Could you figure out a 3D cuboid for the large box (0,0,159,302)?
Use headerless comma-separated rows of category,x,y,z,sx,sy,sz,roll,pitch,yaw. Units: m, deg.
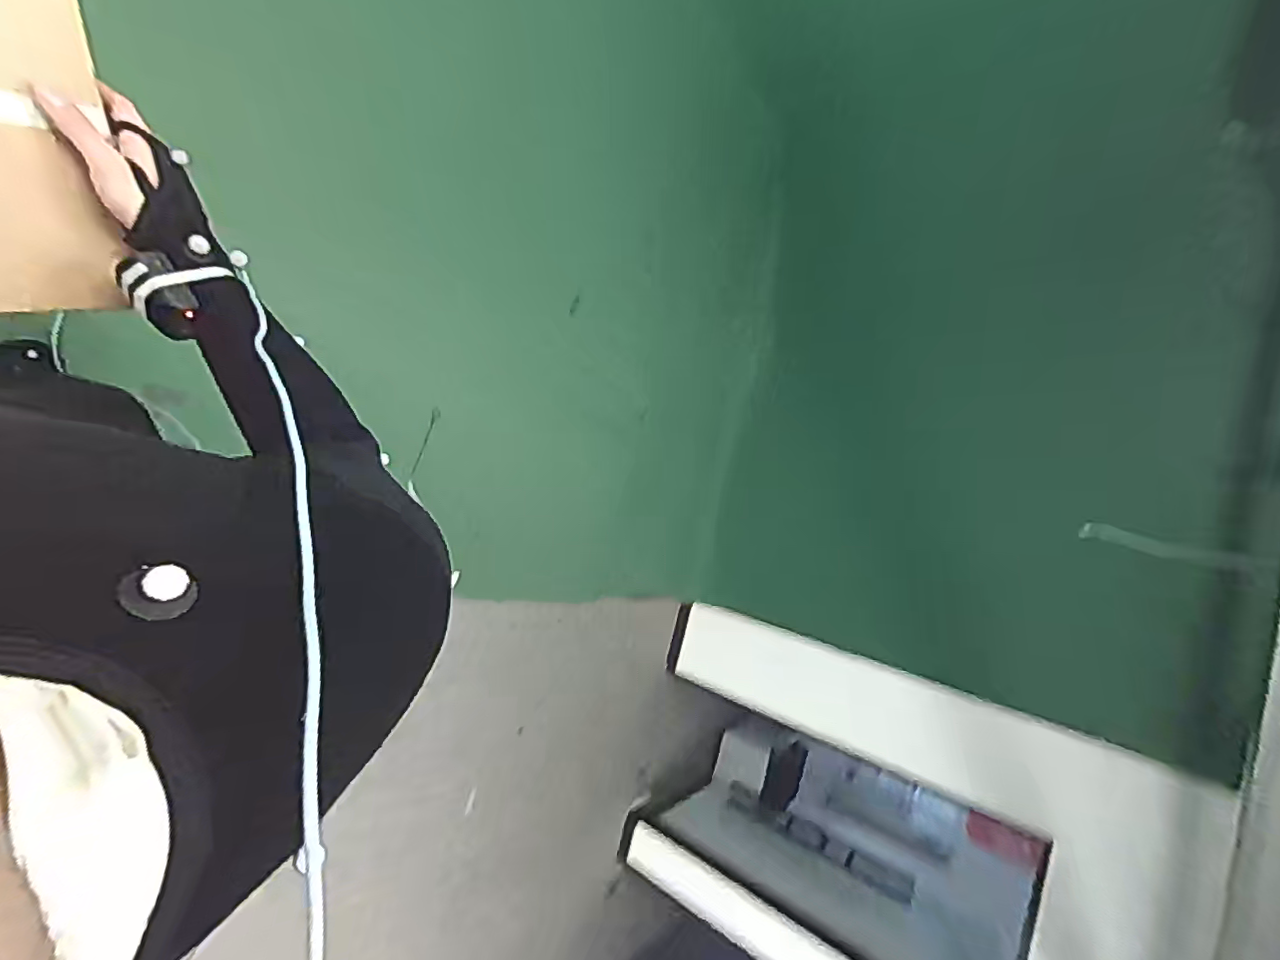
large box,-0.697,-0.313,0.396,0.408,0.320,0.320,-27,133,-52
